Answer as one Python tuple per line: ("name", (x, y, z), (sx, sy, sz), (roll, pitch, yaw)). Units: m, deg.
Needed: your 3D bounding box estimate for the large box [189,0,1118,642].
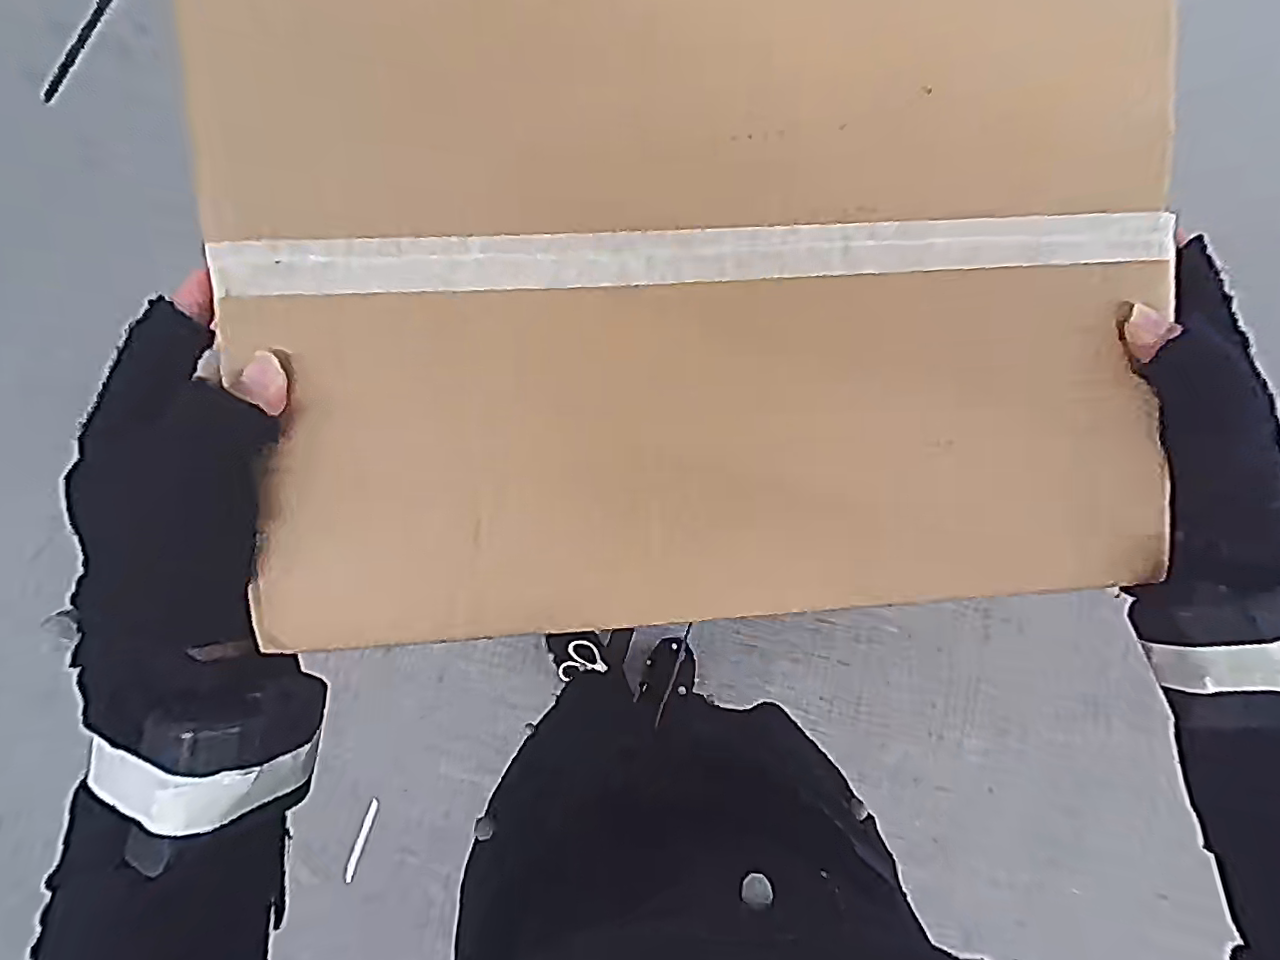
("large box", (0.014, -0.109, 0.389), (0.408, 0.320, 0.320), (-4, 94, -5))
